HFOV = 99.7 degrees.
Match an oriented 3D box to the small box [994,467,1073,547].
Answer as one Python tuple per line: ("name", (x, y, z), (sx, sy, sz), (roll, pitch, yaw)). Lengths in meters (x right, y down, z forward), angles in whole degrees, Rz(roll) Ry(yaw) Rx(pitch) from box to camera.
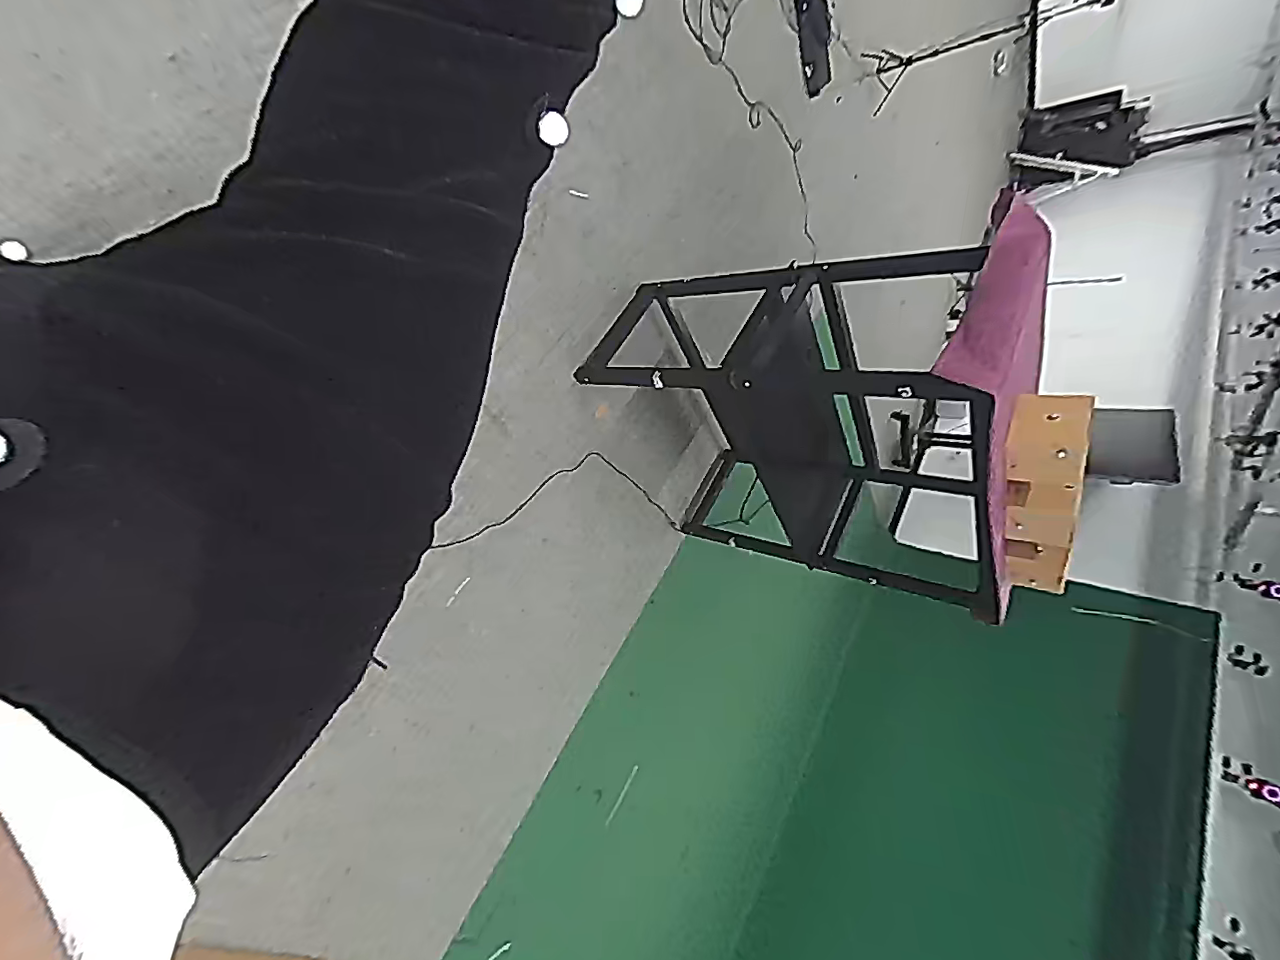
("small box", (1.195, 0.076, 1.650), (0.168, 0.176, 0.179), (-59, 137, -25))

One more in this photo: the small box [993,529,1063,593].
("small box", (1.313, 0.249, 1.835), (0.179, 0.176, 0.168), (-54, 135, -27))
